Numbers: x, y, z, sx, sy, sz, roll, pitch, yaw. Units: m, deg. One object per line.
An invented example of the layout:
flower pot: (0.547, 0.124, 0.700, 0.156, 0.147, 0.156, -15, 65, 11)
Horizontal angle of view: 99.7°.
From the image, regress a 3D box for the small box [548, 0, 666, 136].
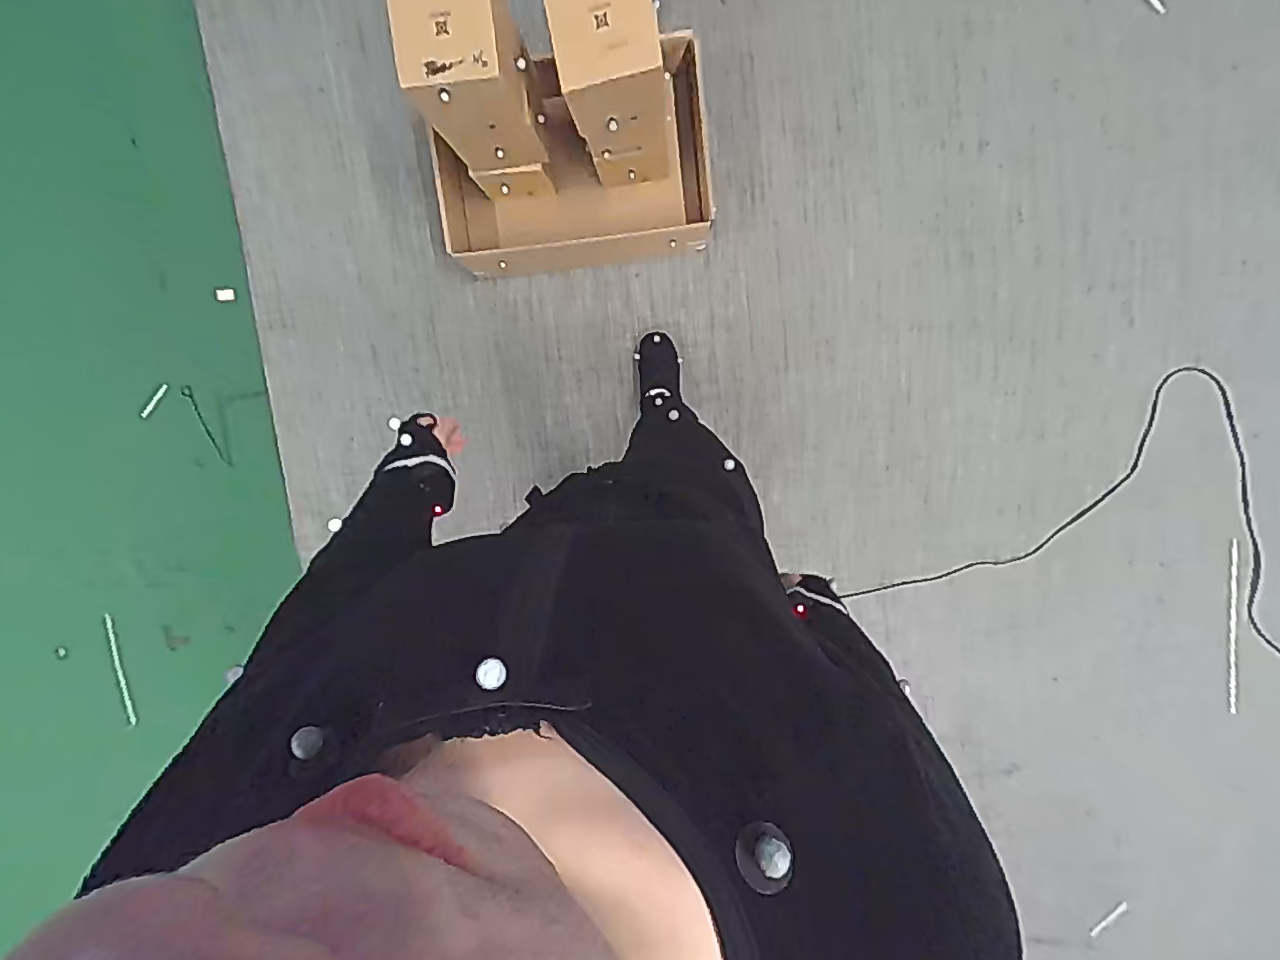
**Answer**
small box: (-0.050, -0.723, 0.909, 0.168, 0.176, 0.179, -9, 100, 6)

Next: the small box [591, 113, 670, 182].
small box: (-0.021, -0.799, 1.227, 0.168, 0.176, 0.179, -5, 99, 5)

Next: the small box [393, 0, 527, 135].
small box: (-0.299, -0.728, 0.923, 0.168, 0.176, 0.179, -3, 98, 4)

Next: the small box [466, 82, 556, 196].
small box: (-0.292, -0.775, 1.249, 0.168, 0.176, 0.179, -2, 98, 3)
